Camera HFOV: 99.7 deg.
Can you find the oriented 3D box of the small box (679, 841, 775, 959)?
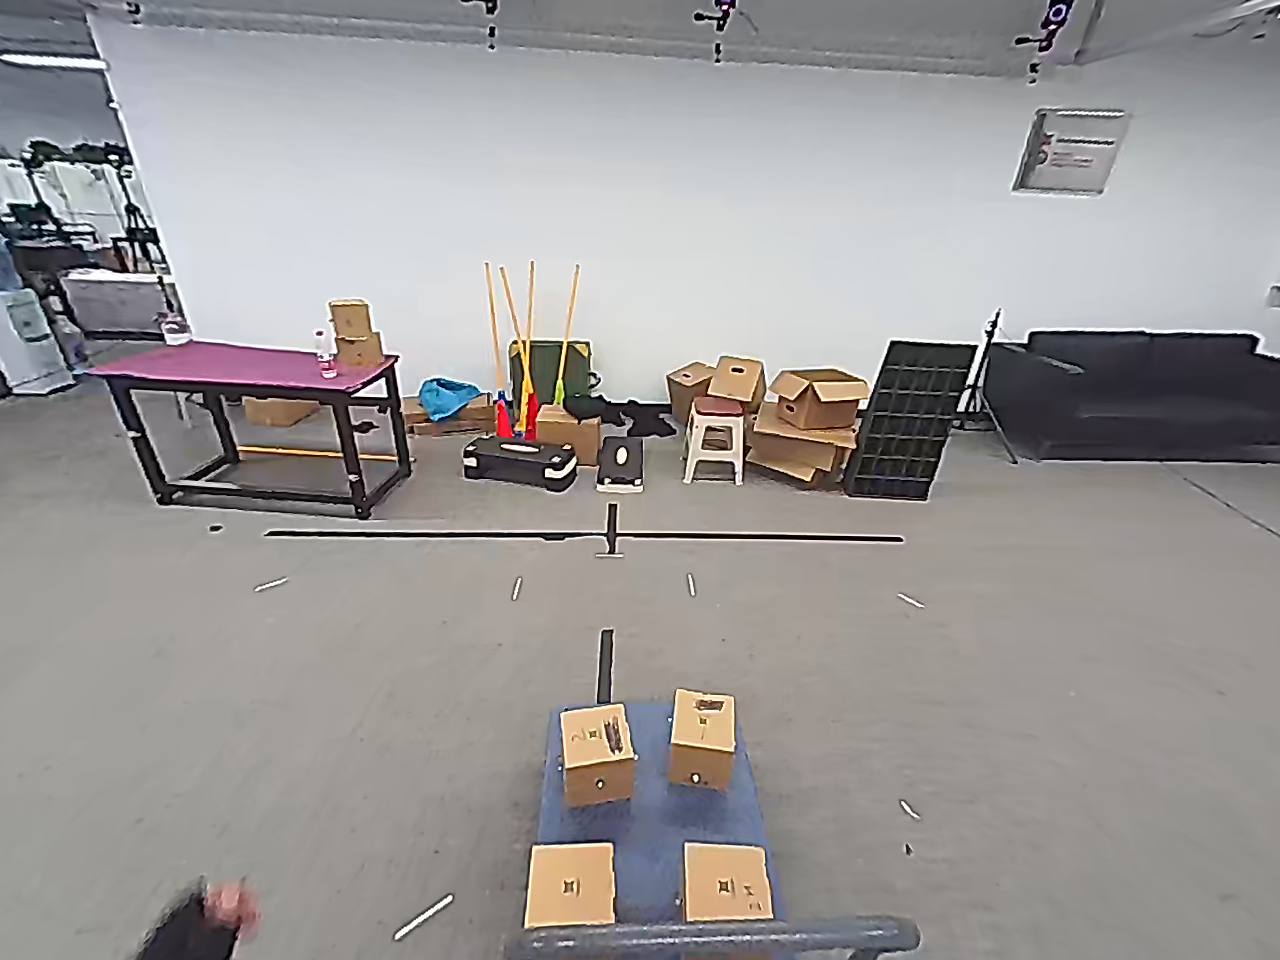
[{"bbox_3d":[0.173,0.899,1.137,0.179,0.176,0.168,4,28,1],"label":"small box"}]

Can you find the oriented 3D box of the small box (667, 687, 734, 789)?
[{"bbox_3d":[0.168,0.710,1.493,0.168,0.176,0.179,6,29,6],"label":"small box"}]

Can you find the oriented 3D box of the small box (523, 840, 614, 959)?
[{"bbox_3d":[-0.145,0.888,1.127,0.179,0.176,0.168,2,27,-6],"label":"small box"}]
